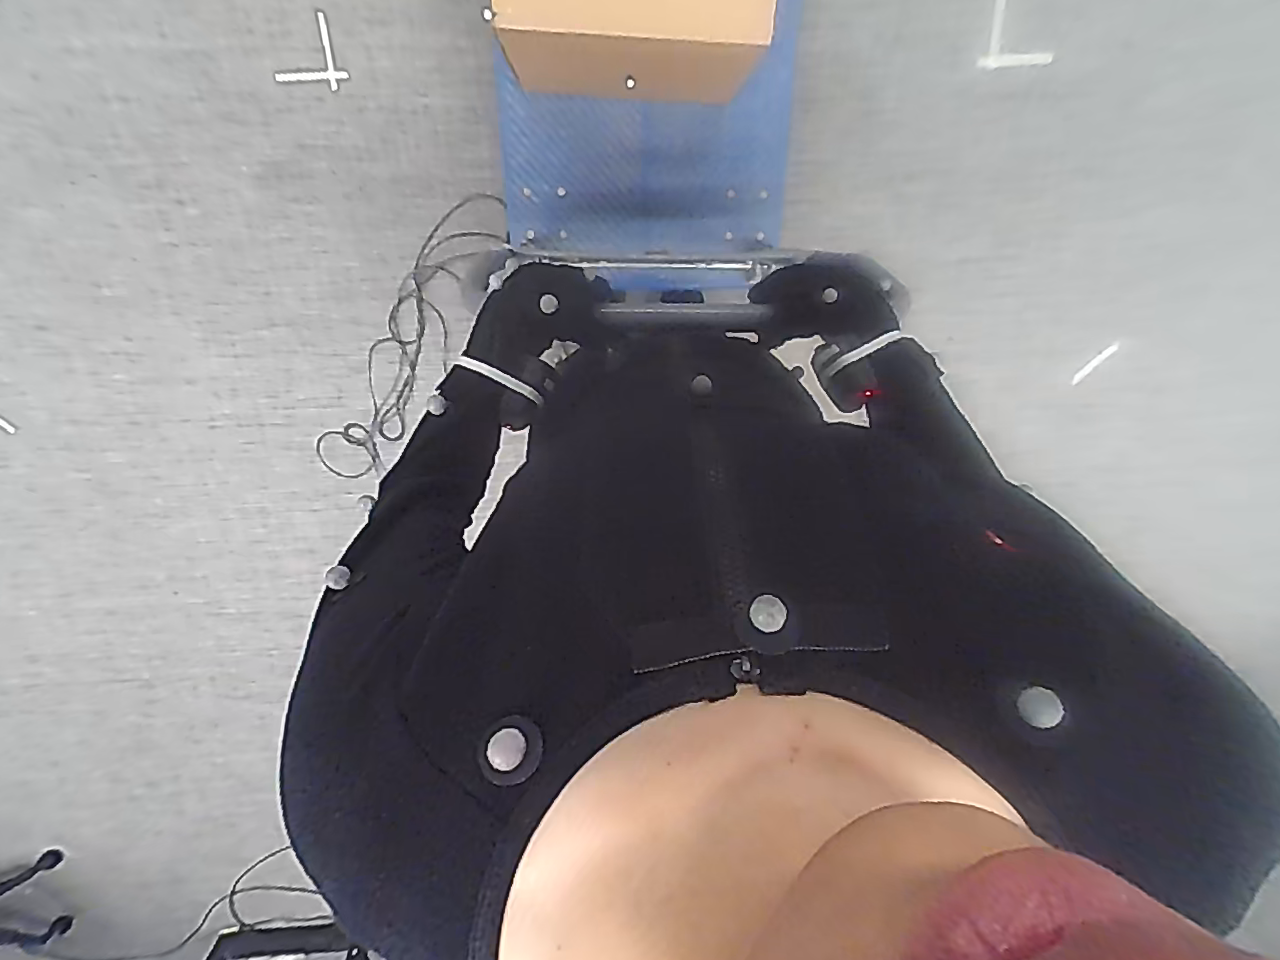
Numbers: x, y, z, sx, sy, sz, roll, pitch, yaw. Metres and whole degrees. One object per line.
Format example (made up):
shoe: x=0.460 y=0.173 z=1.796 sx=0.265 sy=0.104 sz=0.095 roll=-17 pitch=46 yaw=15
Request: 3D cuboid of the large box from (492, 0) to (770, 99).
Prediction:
large box: x=-0.012 y=-0.840 z=0.871 sx=0.408 sy=0.320 sz=0.320 roll=1 pitch=111 yaw=-3
